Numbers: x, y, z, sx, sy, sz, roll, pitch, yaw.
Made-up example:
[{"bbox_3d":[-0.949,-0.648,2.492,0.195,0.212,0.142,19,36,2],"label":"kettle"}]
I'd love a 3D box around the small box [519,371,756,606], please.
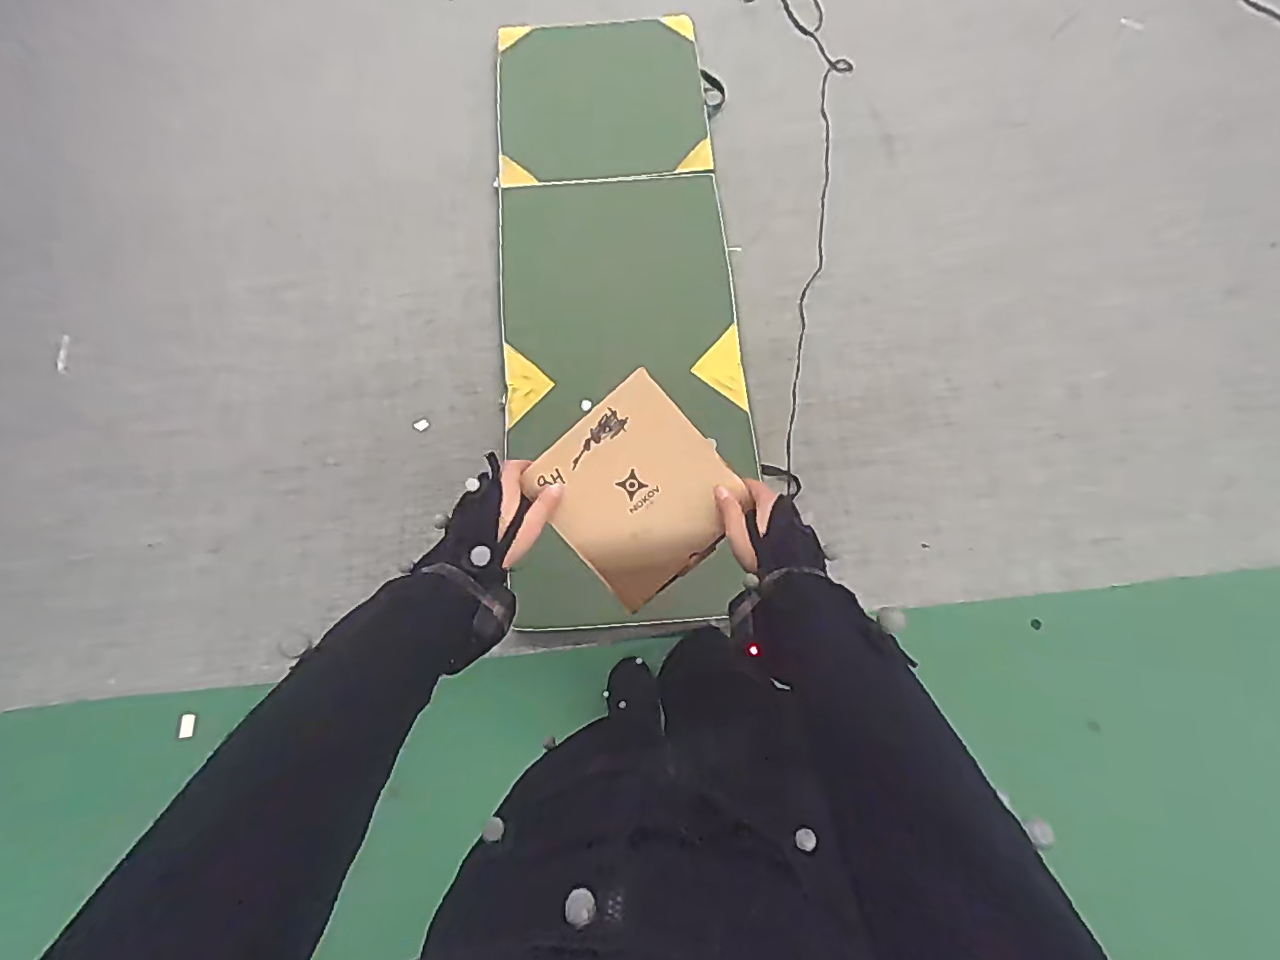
[{"bbox_3d":[-0.001,0.003,0.602,0.168,0.176,0.179,-41,93,3],"label":"small box"}]
